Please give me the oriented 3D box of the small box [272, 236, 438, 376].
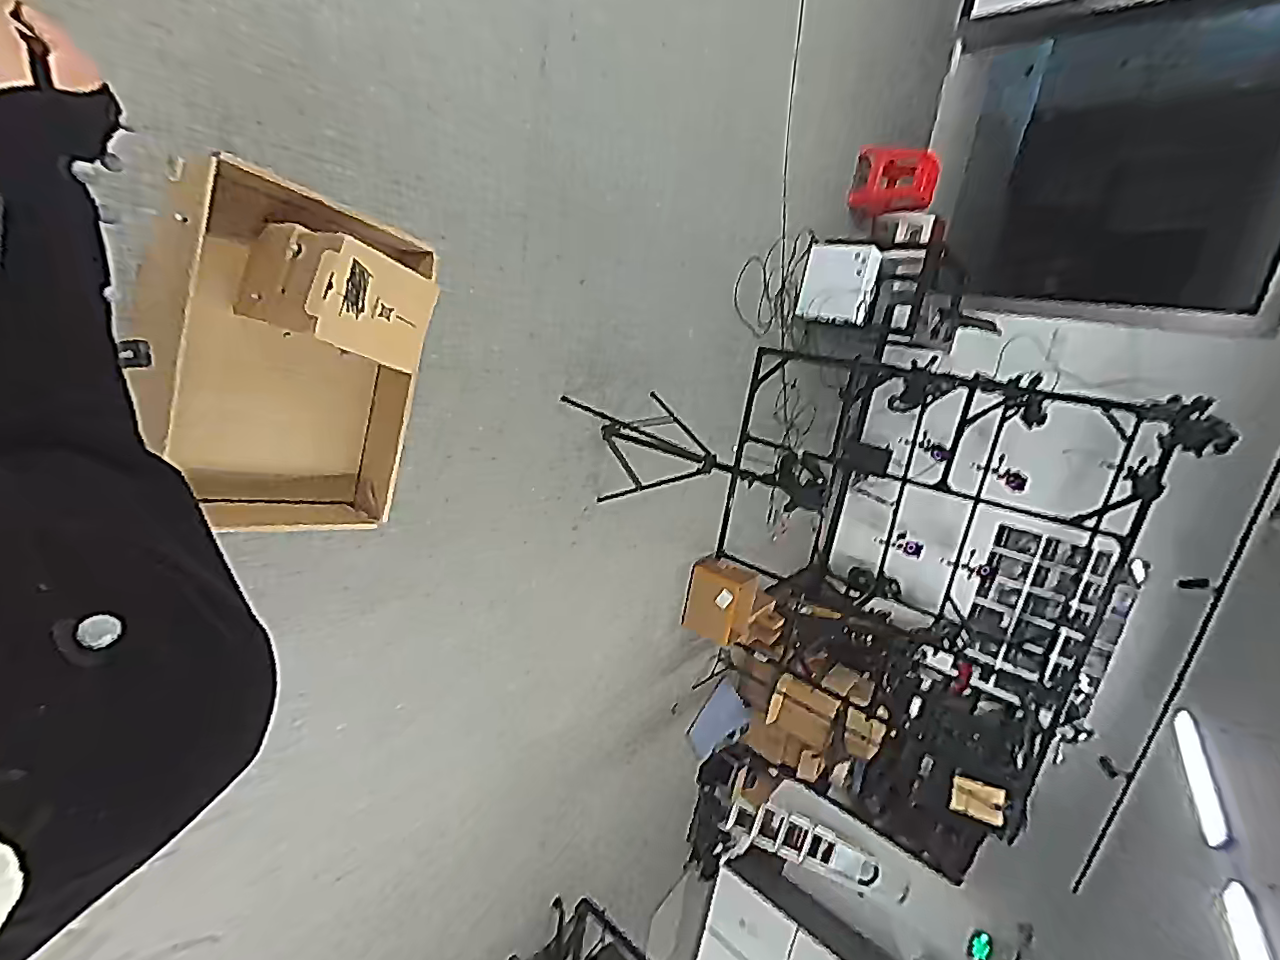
[{"bbox_3d":[-0.488,-0.294,0.924,0.179,0.176,0.168,18,91,-56],"label":"small box"}]
